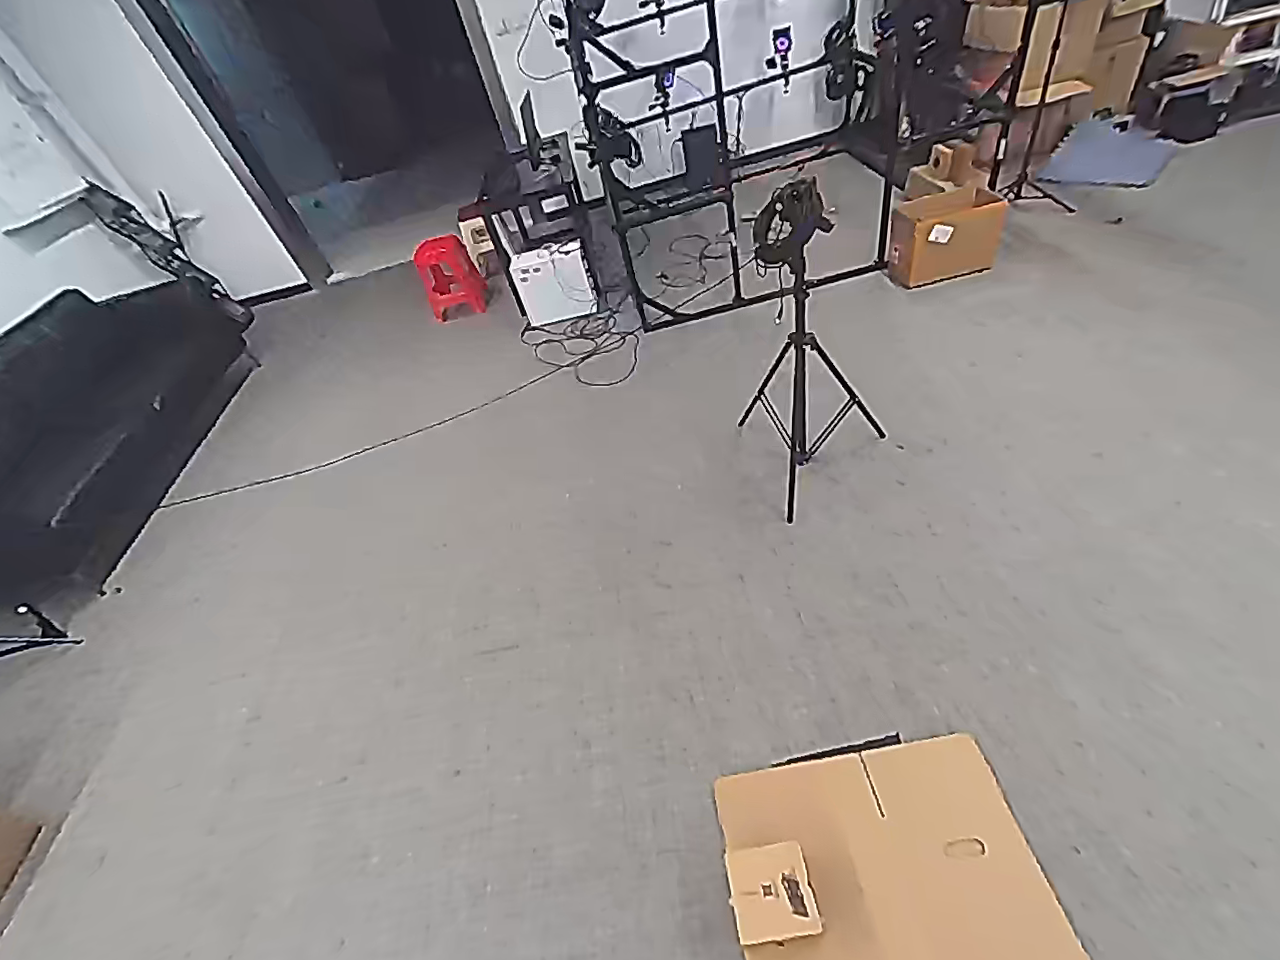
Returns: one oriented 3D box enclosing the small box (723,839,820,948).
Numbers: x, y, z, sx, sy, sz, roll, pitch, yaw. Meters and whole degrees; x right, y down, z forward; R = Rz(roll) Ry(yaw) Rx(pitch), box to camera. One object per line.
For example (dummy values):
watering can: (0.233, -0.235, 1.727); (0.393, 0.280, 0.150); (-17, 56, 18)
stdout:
small box: (0.295, 0.937, 1.224); (0.179, 0.176, 0.168); (-14, 44, 5)
